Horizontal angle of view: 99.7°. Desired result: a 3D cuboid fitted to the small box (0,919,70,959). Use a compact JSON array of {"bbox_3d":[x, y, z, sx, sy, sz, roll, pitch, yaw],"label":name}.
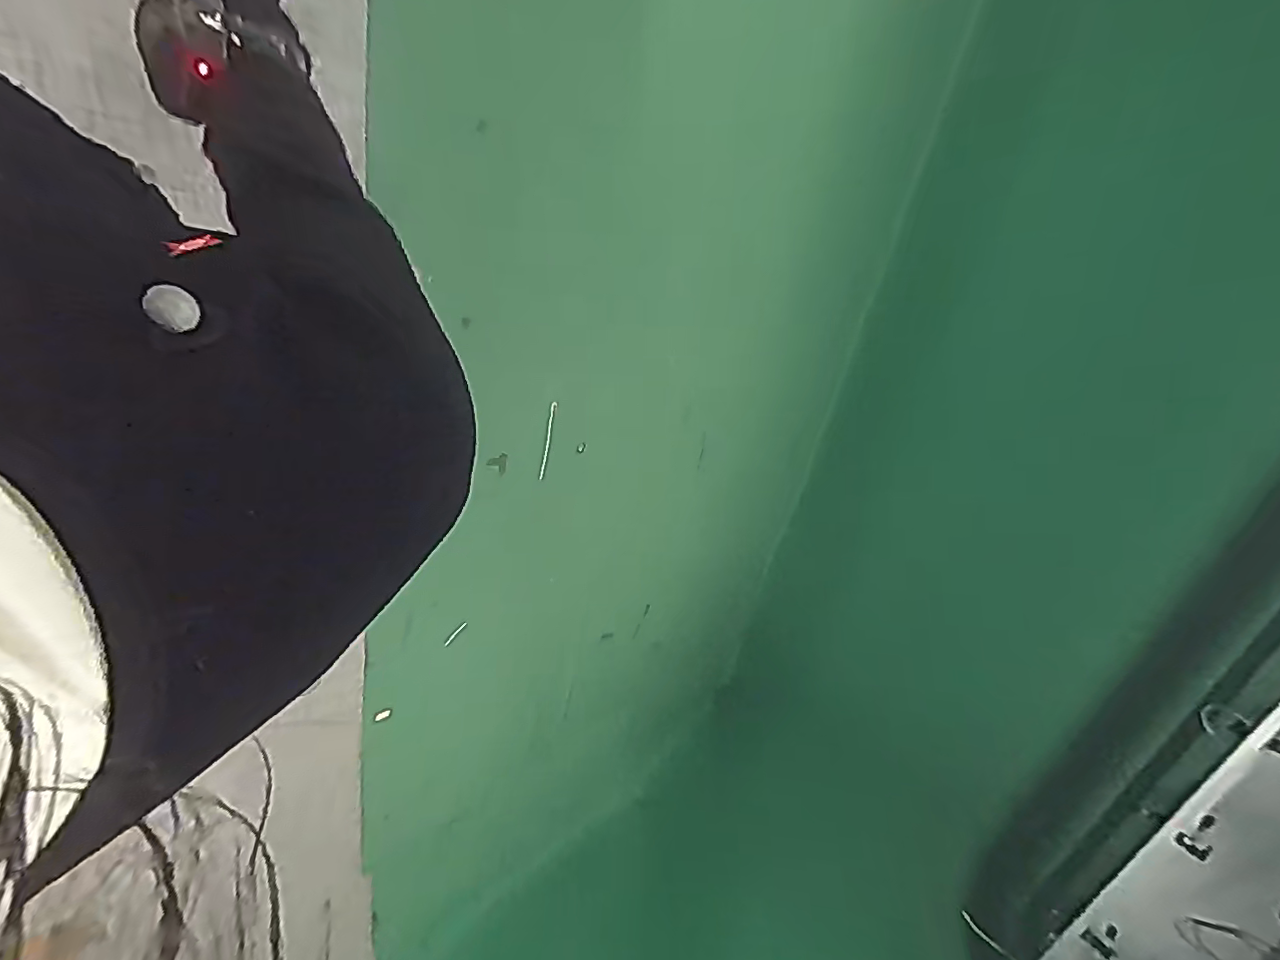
[{"bbox_3d":[-1.595,1.296,1.382,0.179,0.176,0.168,-19,130,-46],"label":"small box"}]
